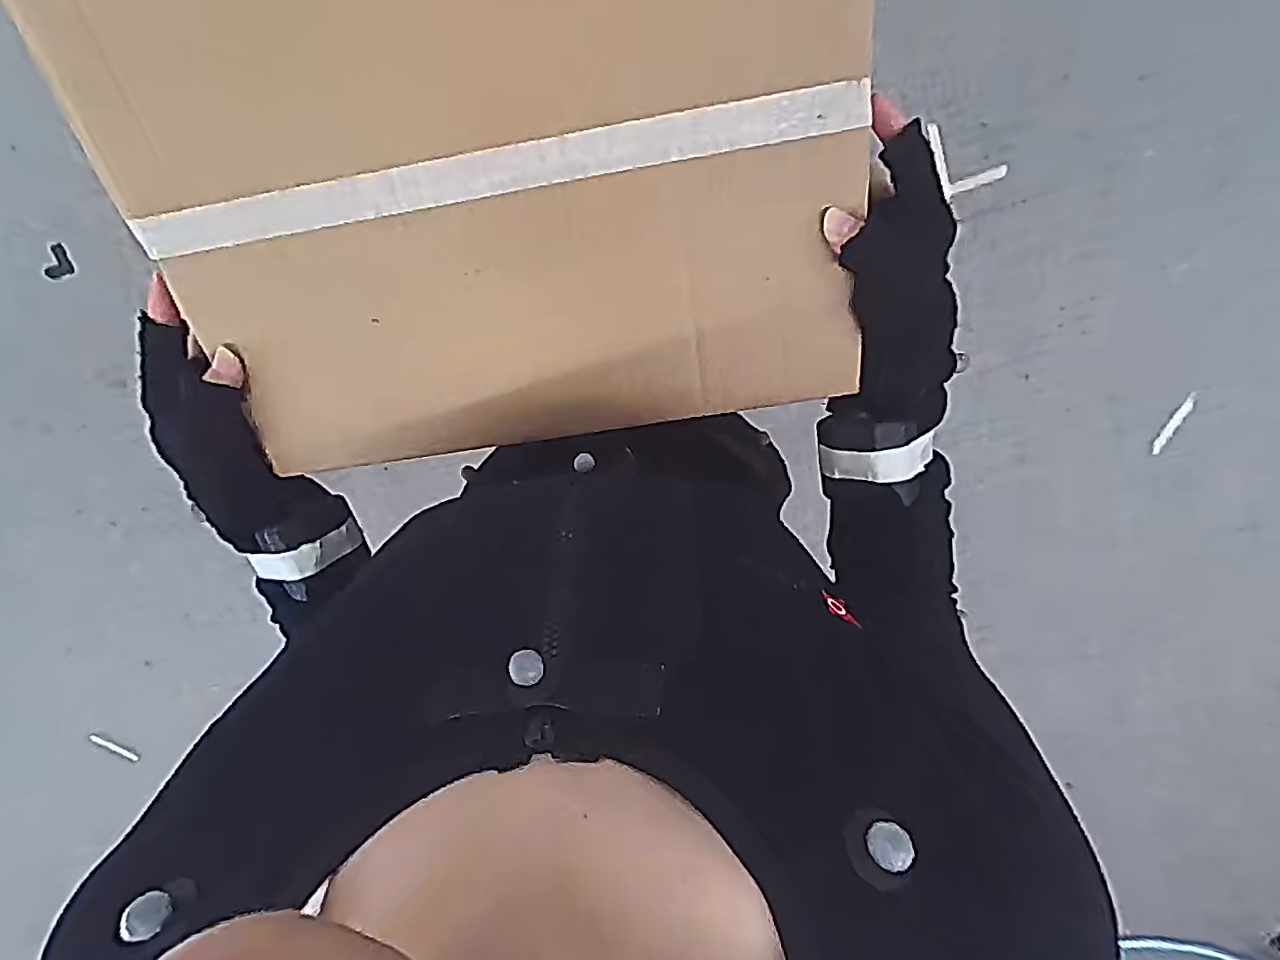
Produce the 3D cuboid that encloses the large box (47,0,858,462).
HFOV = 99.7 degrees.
[{"bbox_3d":[-0.082,-0.244,0.433,0.408,0.320,0.320,-8,120,4],"label":"large box"}]
